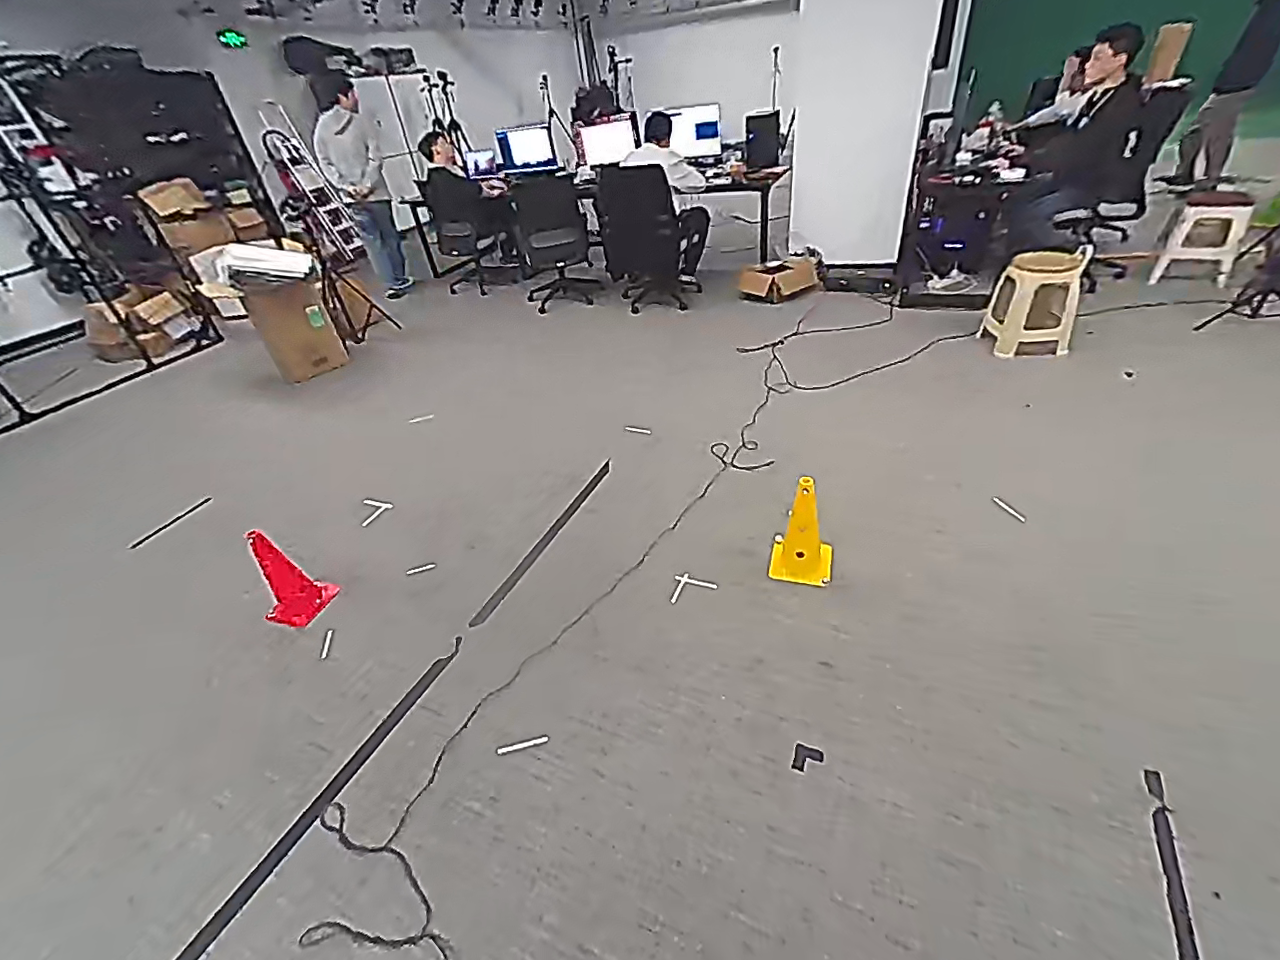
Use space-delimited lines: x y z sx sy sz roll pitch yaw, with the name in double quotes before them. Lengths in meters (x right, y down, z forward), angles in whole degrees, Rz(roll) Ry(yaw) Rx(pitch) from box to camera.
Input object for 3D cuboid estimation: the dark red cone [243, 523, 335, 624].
"dark red cone" -1.286 0.313 1.914 0.201 0.394 0.202 6 38 18
